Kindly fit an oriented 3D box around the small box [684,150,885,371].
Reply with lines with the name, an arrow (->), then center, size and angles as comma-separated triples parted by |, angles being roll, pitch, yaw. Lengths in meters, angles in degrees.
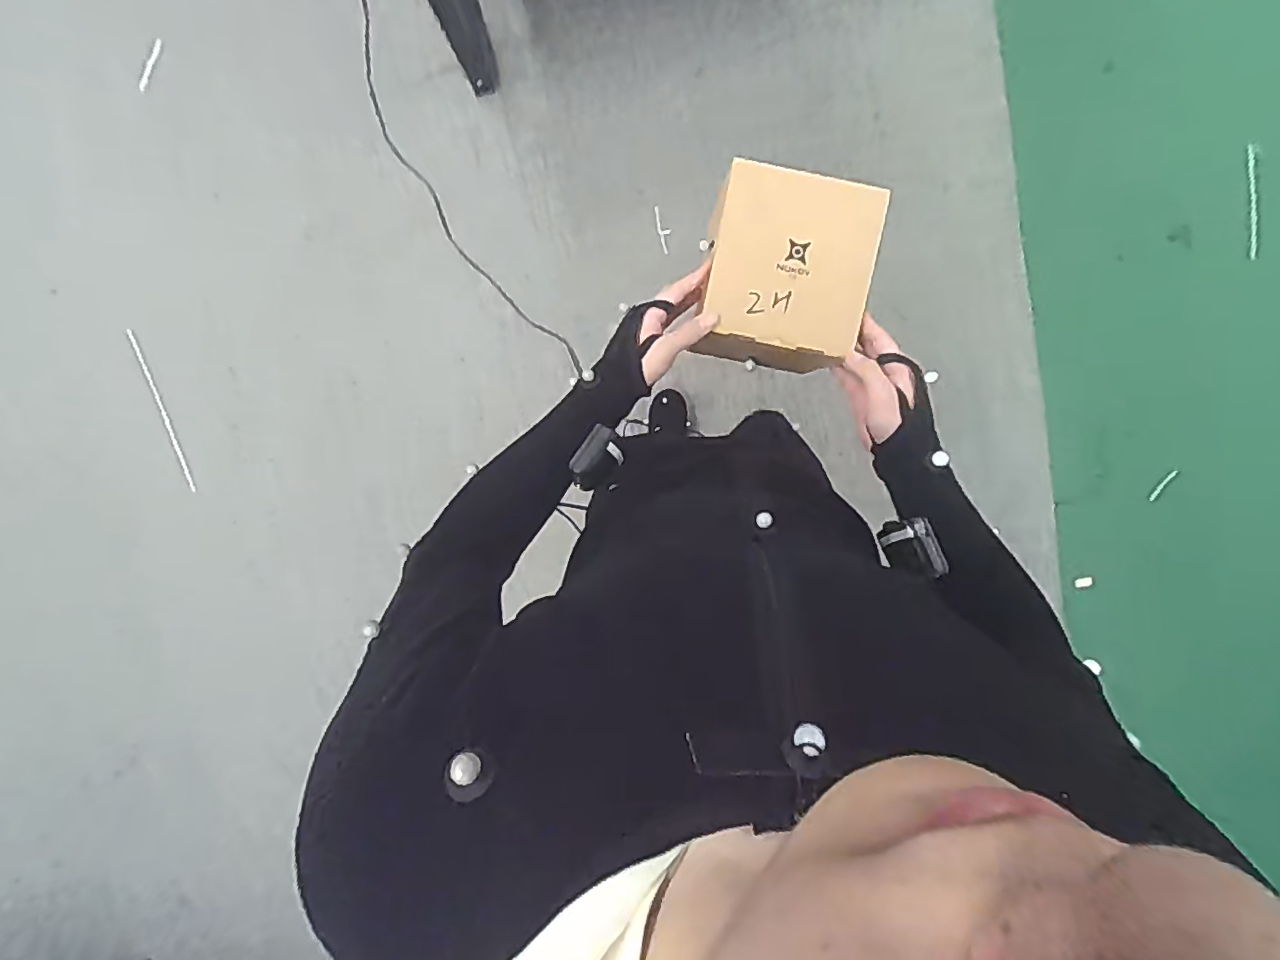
small box -> 0.150, -0.236, 0.626 | 0.168, 0.176, 0.179 | 11, 95, -1
